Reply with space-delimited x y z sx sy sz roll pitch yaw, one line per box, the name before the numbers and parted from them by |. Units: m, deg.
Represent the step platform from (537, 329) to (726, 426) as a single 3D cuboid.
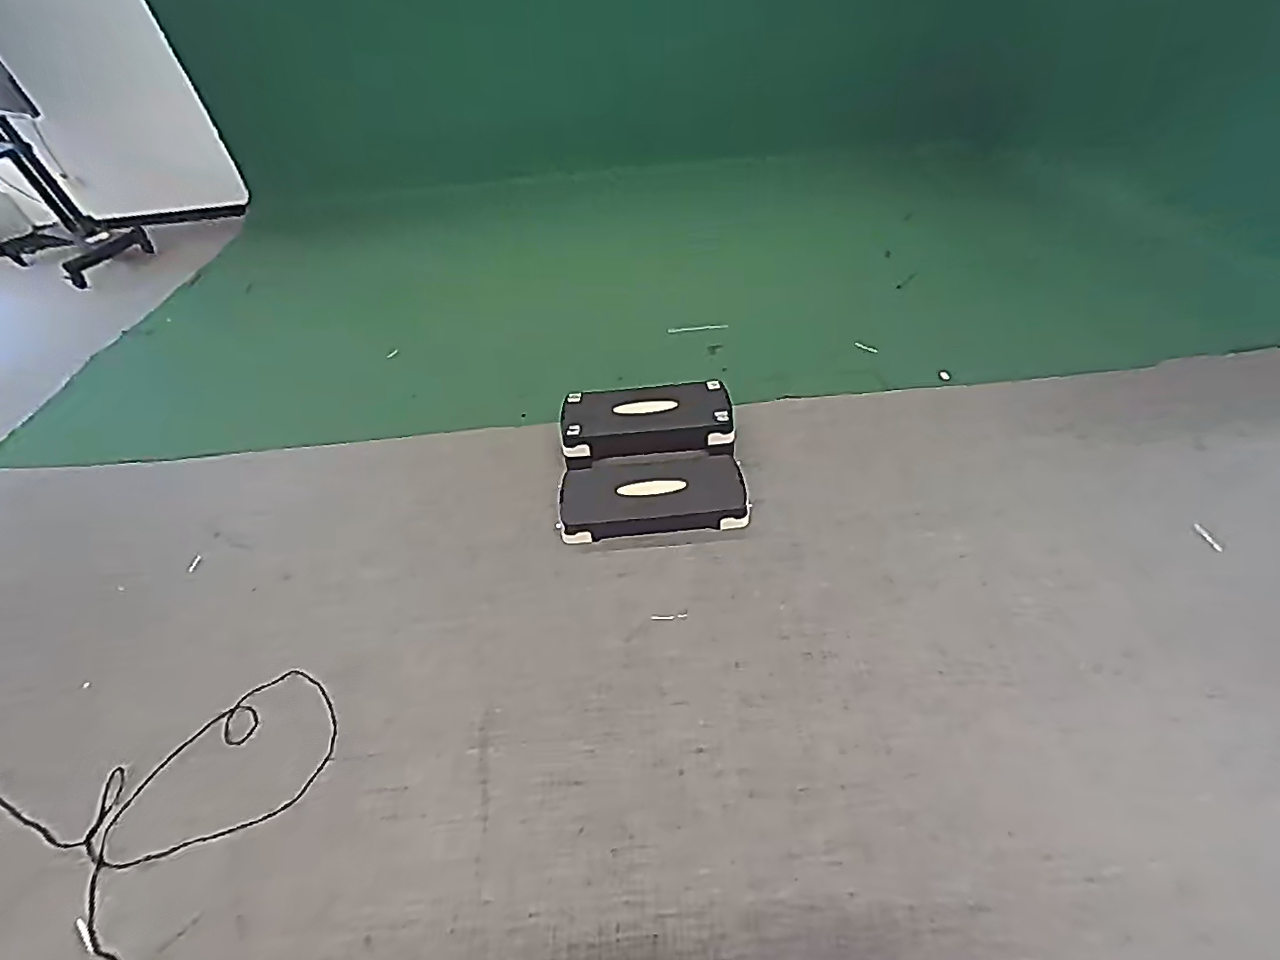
step platform | -0.027 -0.383 2.029 0.684 0.204 0.286 -6 47 1
